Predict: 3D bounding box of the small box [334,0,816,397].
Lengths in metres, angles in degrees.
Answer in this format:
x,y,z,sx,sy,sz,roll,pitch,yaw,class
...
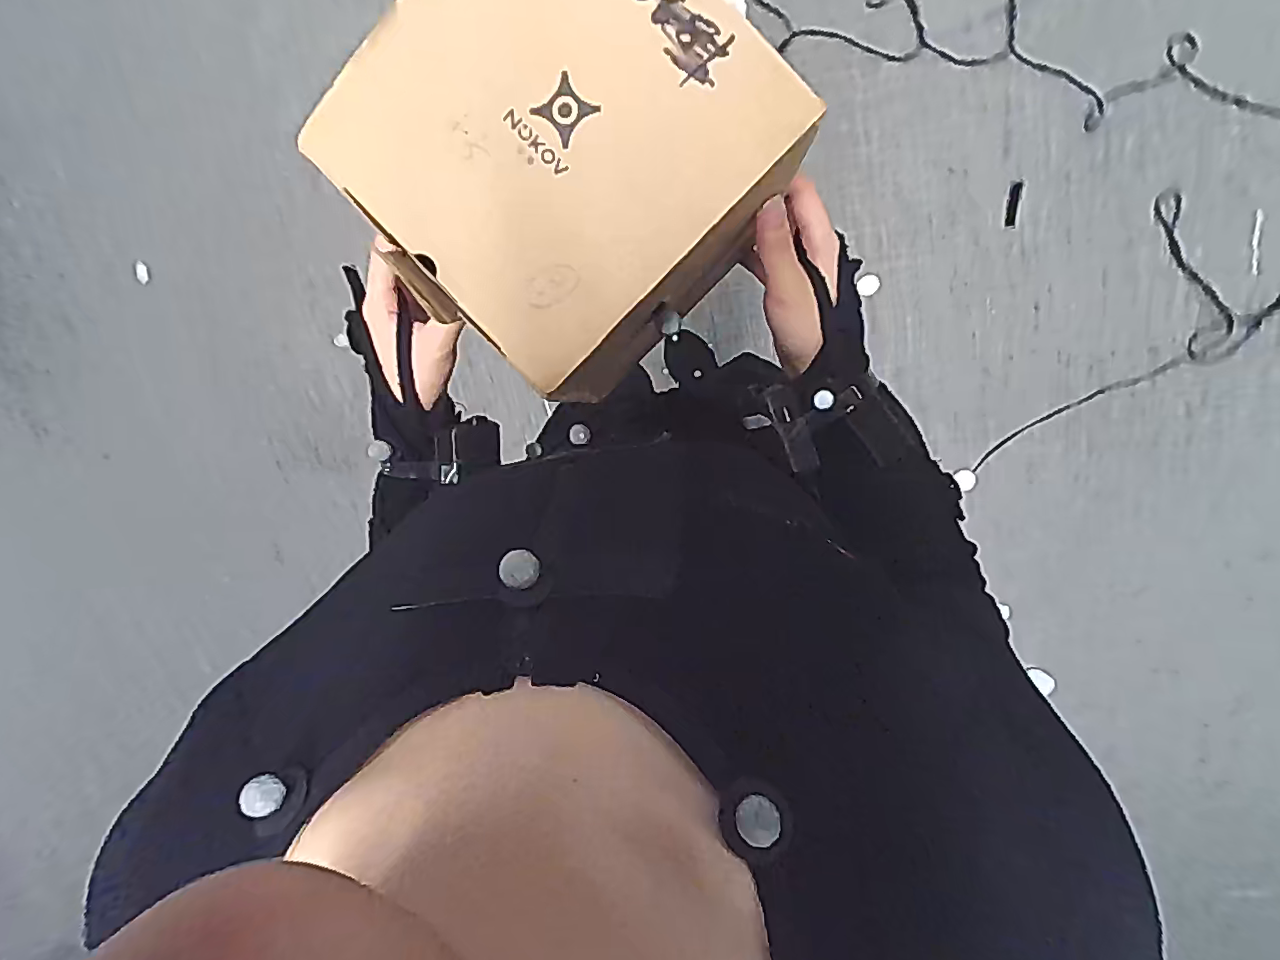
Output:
x,y,z,sx,sy,sz,roll,pitch,yaw,class
-0.027,-0.165,0.332,0.179,0.176,0.168,-43,93,8,small box
